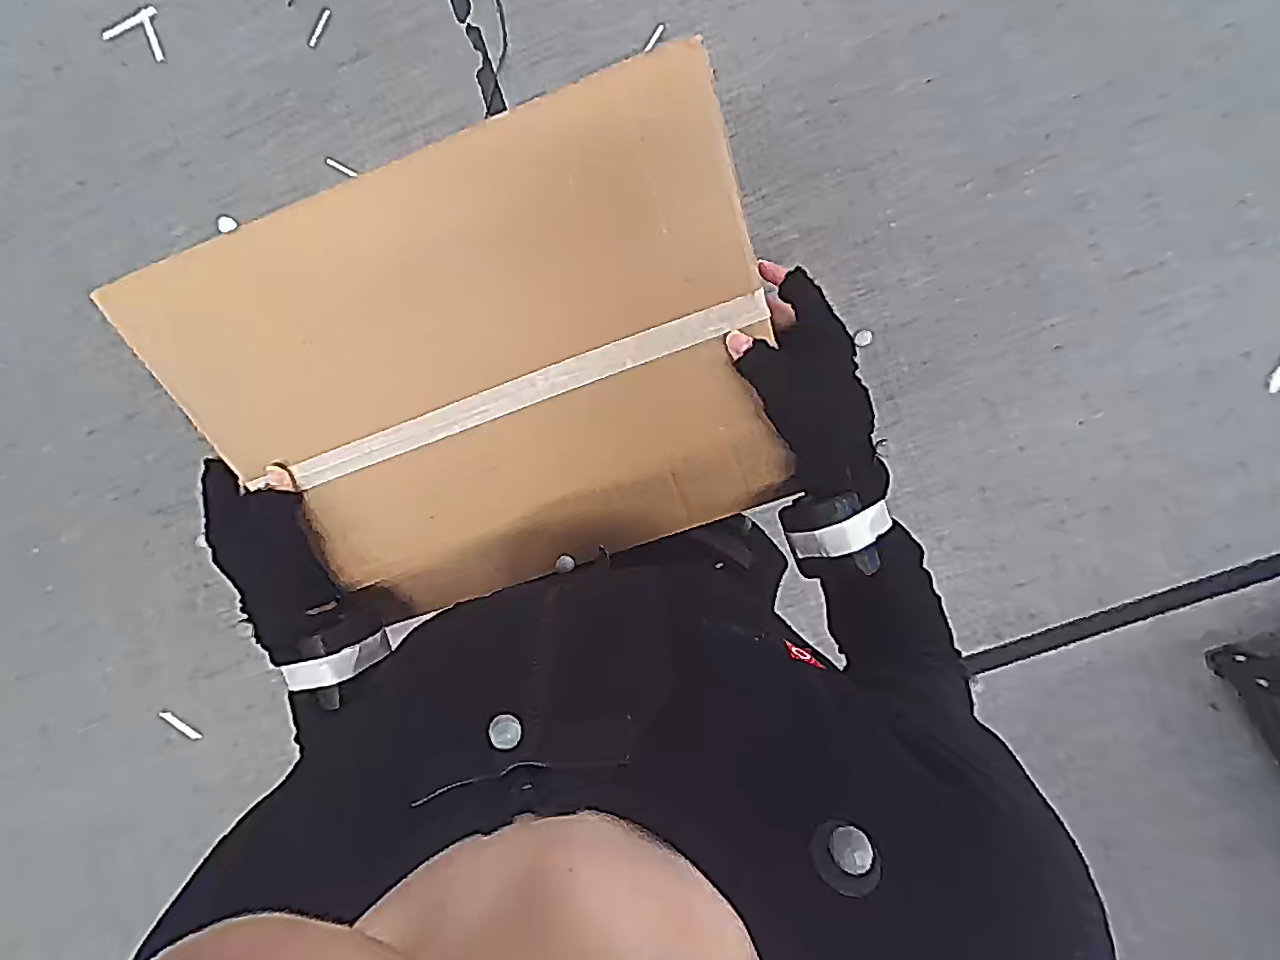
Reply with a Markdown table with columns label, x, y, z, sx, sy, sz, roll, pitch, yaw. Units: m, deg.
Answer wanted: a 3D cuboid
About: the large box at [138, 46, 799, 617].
| label | x | y | z | sx | sy | sz | roll | pitch | yaw |
| --- | --- | --- | --- | --- | --- | --- | --- | --- | --- |
| large box | -0.112 | -0.131 | 0.535 | 0.408 | 0.320 | 0.320 | -19 | 119 | 7 |
